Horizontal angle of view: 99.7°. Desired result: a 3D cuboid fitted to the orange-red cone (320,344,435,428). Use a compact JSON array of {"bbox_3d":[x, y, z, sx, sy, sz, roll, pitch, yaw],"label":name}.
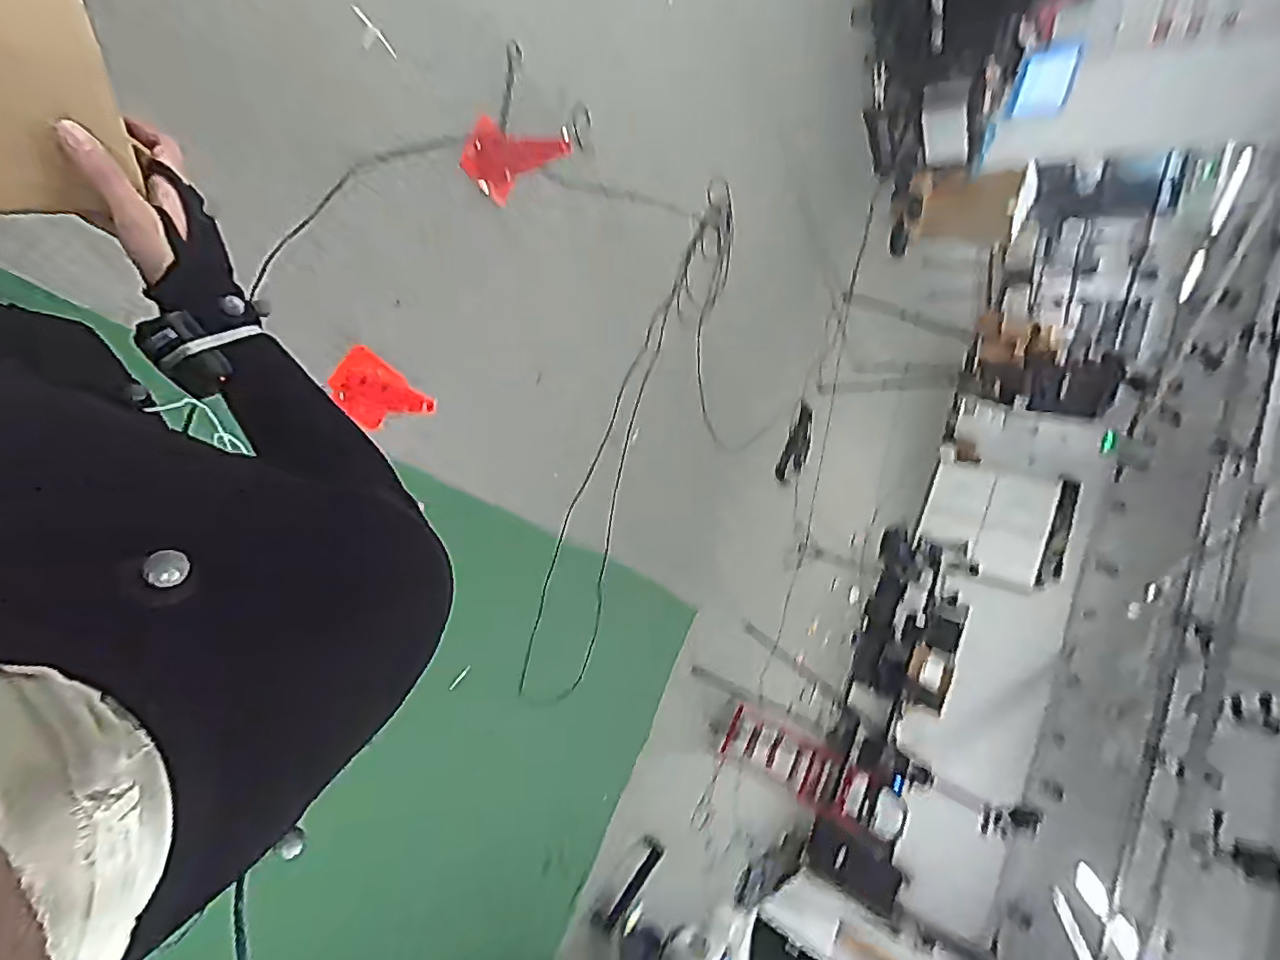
[{"bbox_3d":[-0.696,-0.240,1.529,0.198,0.360,0.199,-62,144,-15],"label":"orange-red cone"}]
